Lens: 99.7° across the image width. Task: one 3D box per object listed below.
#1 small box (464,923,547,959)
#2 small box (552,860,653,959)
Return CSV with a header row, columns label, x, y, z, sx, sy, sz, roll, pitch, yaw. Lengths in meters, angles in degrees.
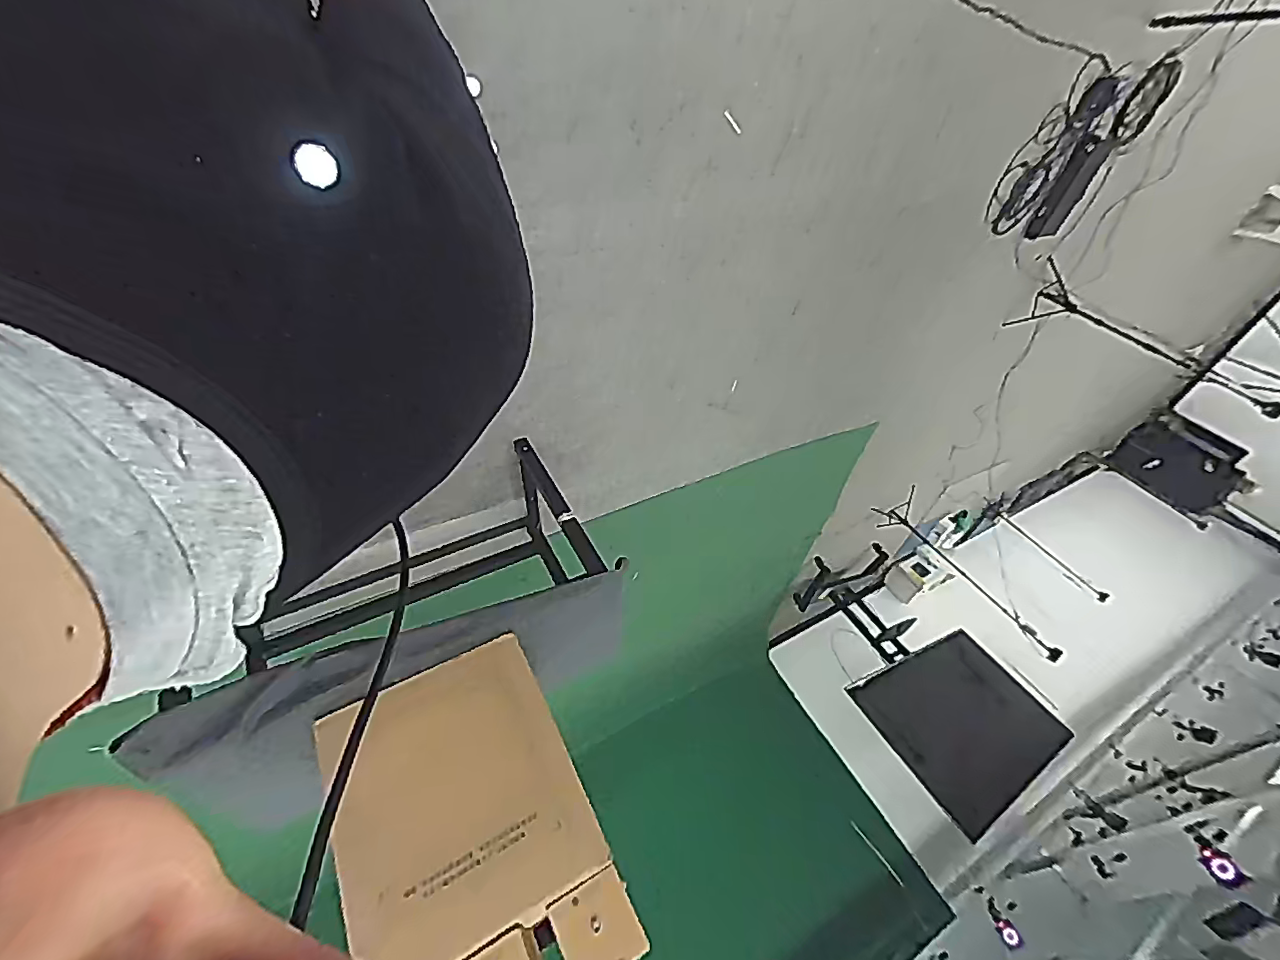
label,x,y,z,sx,sy,sz,roll,pitch,yaw
small box,-0.271,1.056,1.112,0.168,0.176,0.179,-24,141,-19
small box,-0.088,0.989,1.203,0.168,0.176,0.179,-22,142,-24
